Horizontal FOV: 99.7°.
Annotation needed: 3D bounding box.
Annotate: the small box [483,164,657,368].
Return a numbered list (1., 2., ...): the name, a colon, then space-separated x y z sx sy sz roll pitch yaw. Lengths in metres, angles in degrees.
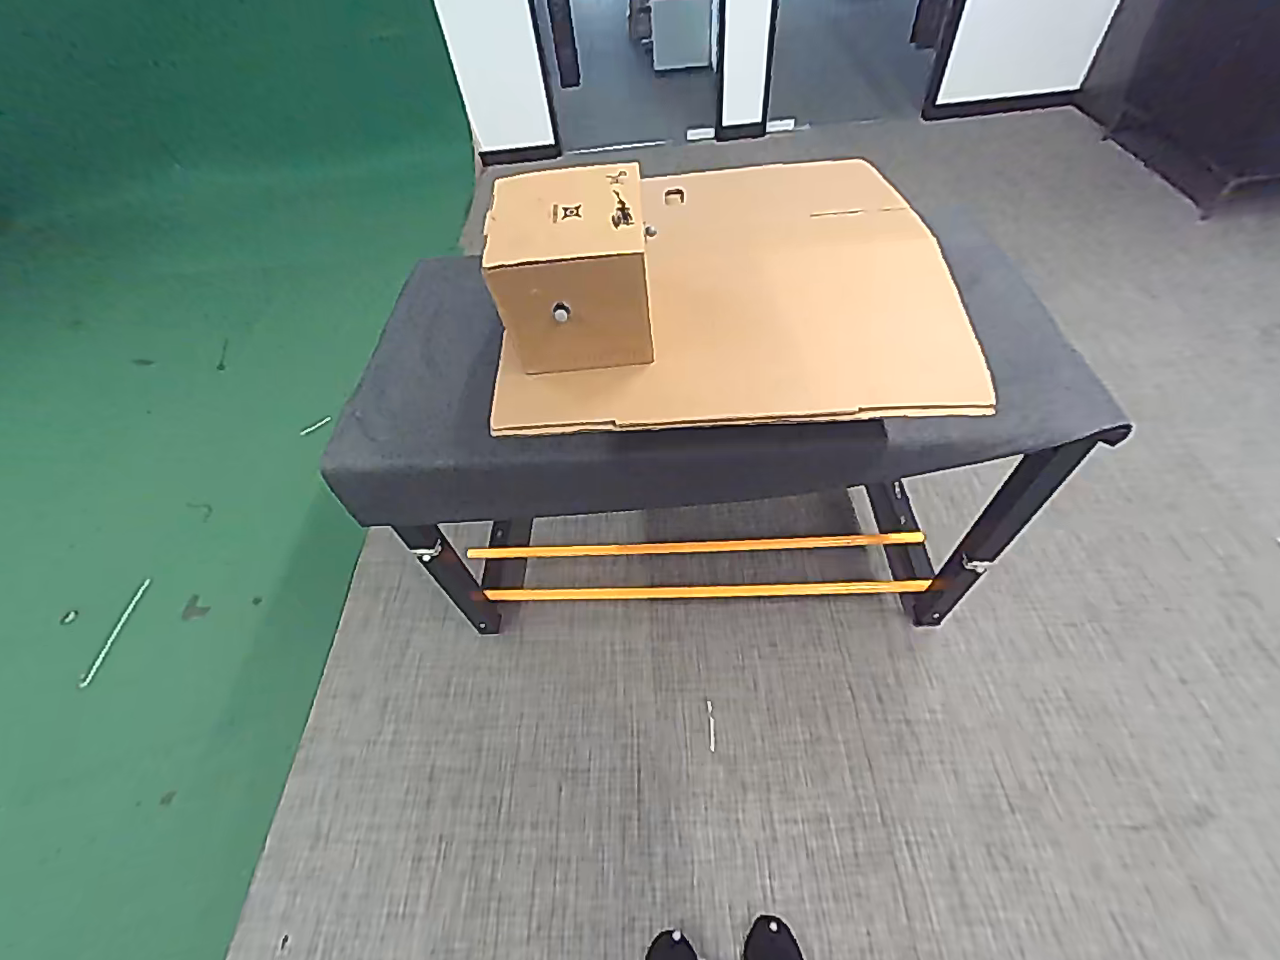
1. small box: -0.075 -0.257 0.676 0.179 0.176 0.168 -5 60 4
